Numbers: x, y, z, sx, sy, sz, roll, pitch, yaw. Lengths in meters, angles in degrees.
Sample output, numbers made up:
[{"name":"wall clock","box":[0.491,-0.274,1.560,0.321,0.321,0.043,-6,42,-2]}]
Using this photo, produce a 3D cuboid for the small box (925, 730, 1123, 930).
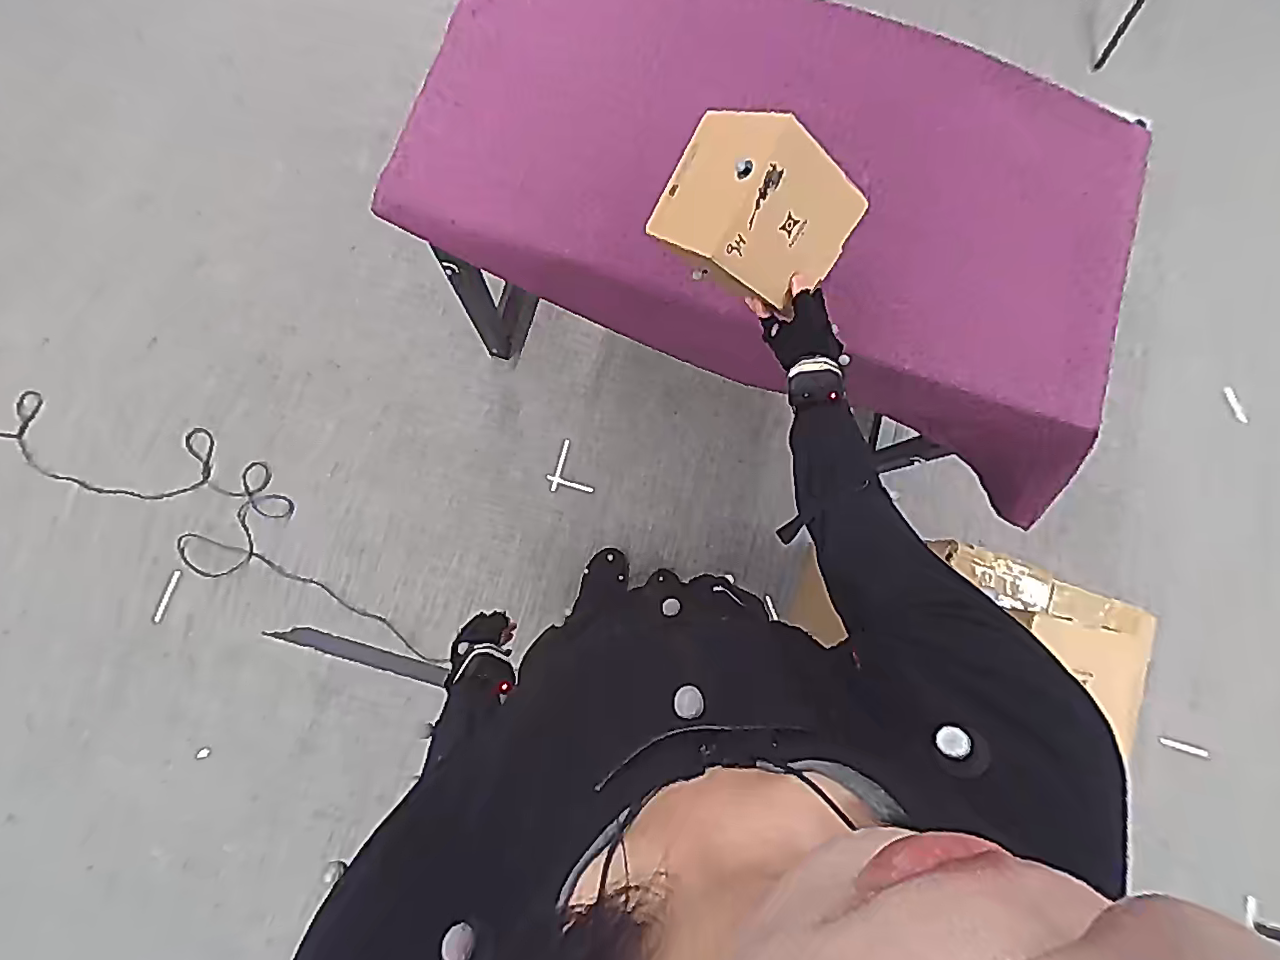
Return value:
[{"name":"small box","box":[0.563,0.509,0.815,0.168,0.176,0.179,19,79,-1]}]

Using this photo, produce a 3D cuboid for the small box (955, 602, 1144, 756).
[{"name":"small box","box":[0.630,0.299,0.851,0.168,0.176,0.179,13,83,-1]}]

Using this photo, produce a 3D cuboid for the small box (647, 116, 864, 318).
[{"name":"small box","box":[0.143,-0.343,0.706,0.179,0.176,0.168,18,109,-38]}]
